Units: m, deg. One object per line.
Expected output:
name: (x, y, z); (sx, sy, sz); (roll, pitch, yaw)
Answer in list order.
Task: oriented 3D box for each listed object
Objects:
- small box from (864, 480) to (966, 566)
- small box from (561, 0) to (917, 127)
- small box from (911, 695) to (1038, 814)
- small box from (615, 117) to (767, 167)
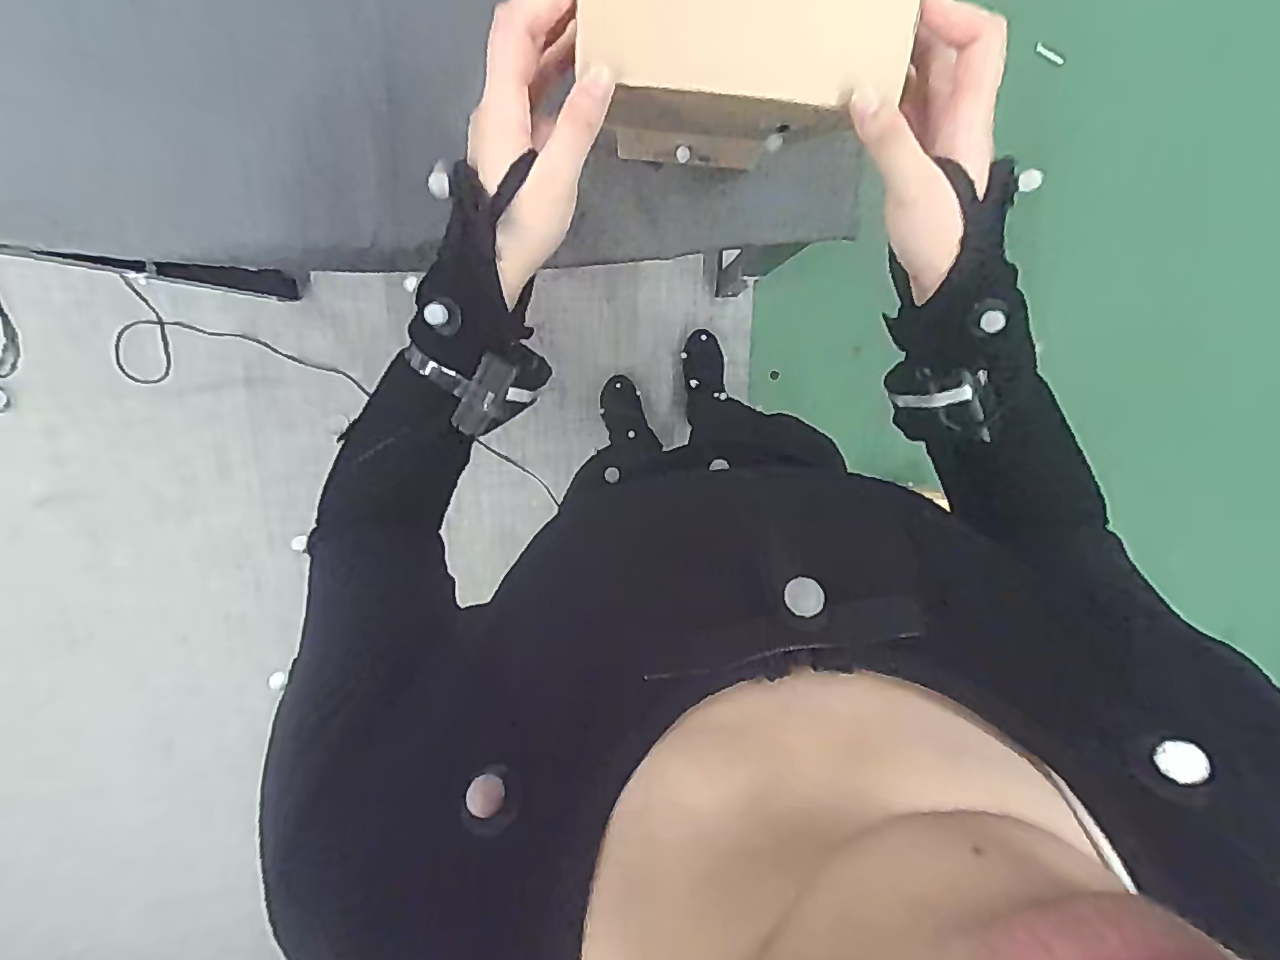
small box: (0.714, 0.109, 1.426); (0.168, 0.176, 0.179); (6, 102, -2)
small box: (0.047, -0.312, 0.308); (0.179, 0.176, 0.168); (1, 116, -4)
small box: (0.727, 0.599, 1.197); (0.168, 0.176, 0.179); (2, 101, -1)
small box: (0.059, -0.453, 0.552); (0.168, 0.176, 0.179); (5, 100, 0)
